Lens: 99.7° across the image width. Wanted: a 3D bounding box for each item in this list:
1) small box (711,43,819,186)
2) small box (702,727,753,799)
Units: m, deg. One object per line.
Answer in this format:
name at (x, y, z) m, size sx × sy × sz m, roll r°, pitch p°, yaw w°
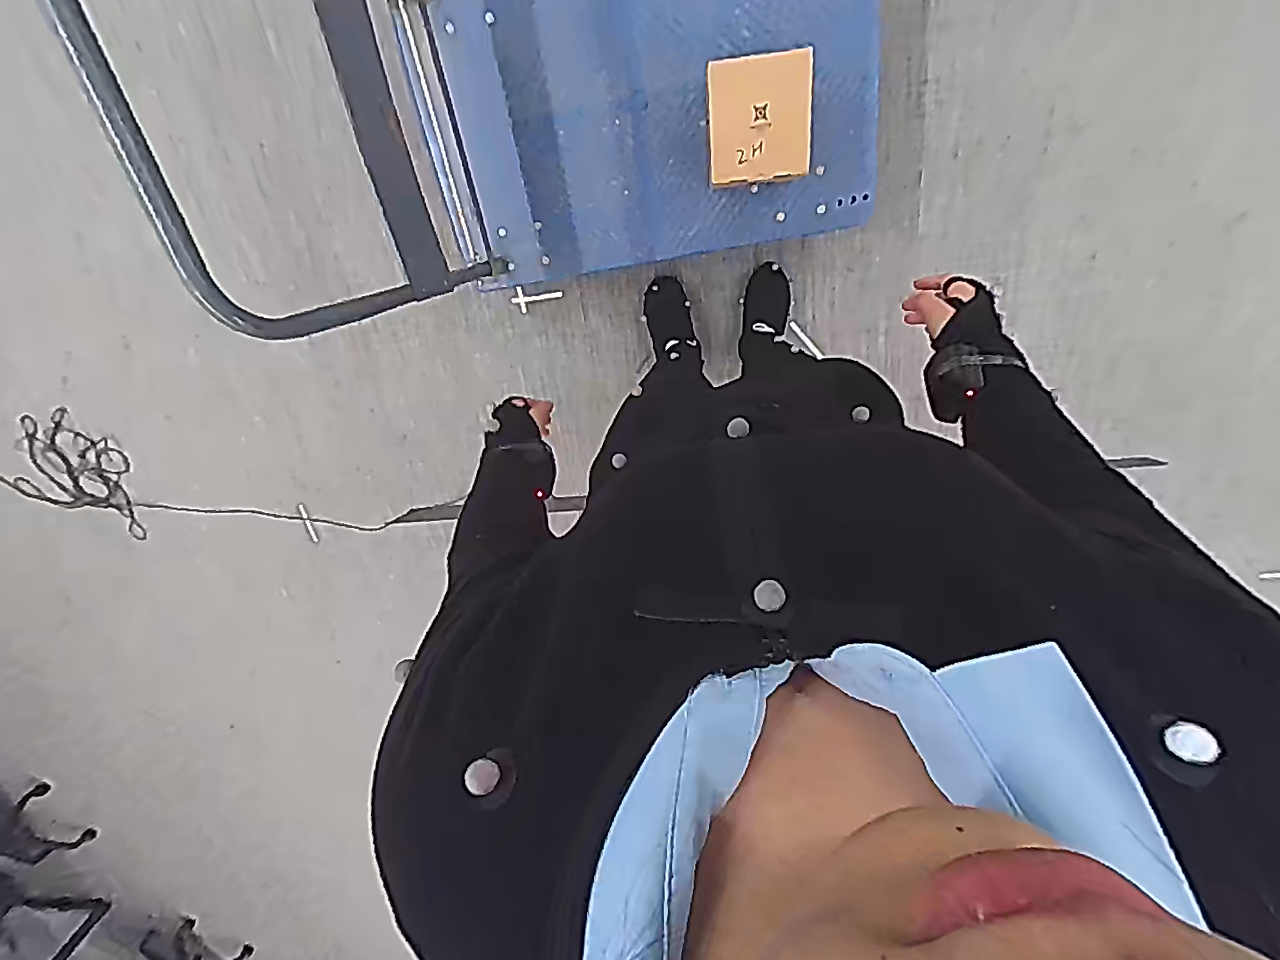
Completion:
small box at (0.212, -0.631, 0.954) m, size 0.168 × 0.176 × 0.179 m, roll -2°, pitch 116°, yaw 8°
small box at (0.318, 1.026, 1.964) m, size 0.168 × 0.176 × 0.179 m, roll -7°, pitch 114°, yaw 9°
